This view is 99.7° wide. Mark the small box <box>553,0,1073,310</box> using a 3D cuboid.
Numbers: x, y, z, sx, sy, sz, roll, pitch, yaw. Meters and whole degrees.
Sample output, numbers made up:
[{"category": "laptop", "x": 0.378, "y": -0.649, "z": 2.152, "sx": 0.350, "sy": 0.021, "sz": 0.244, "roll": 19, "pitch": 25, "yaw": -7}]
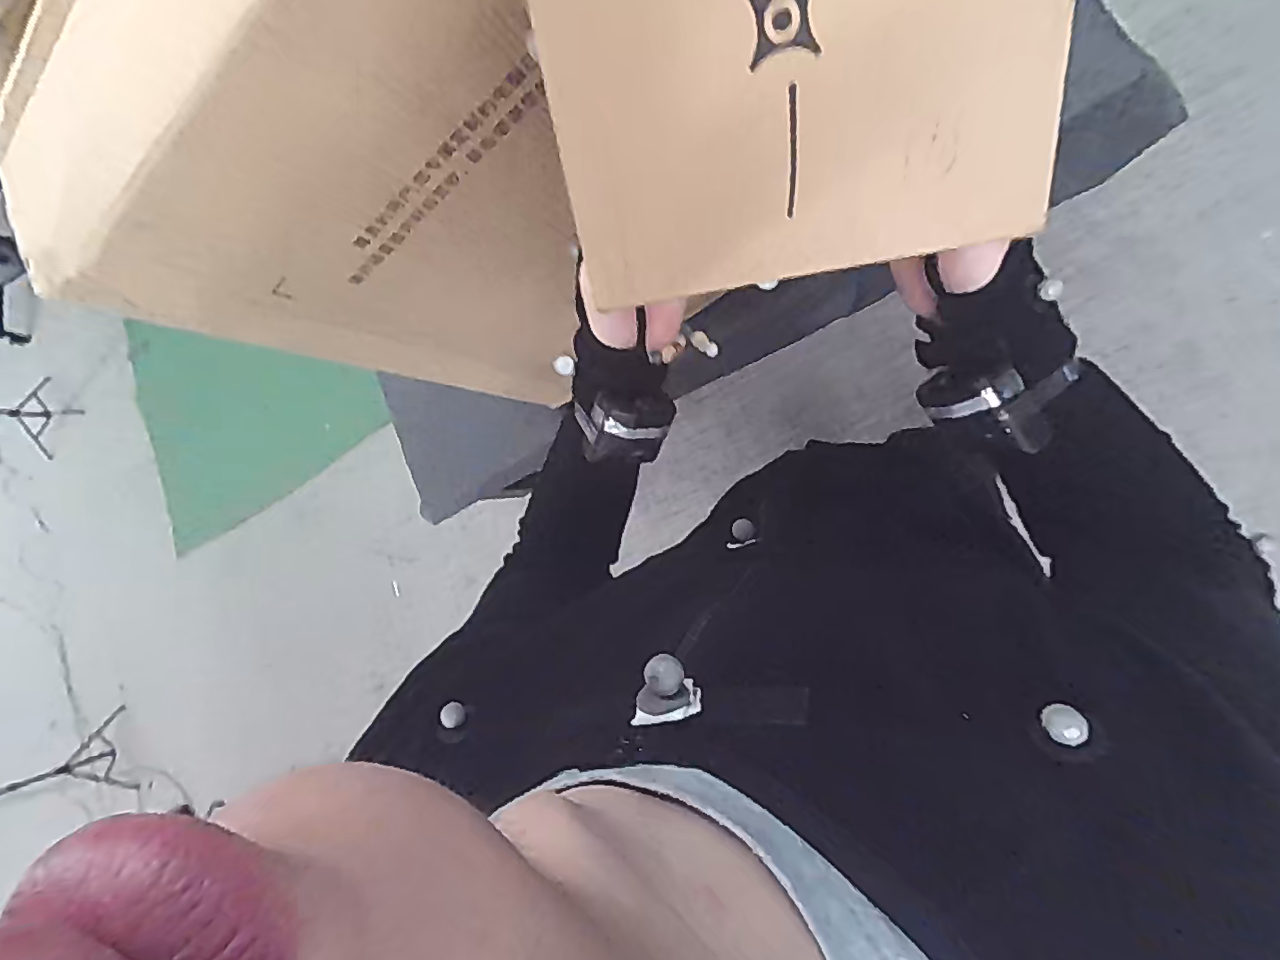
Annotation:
[{"category": "small box", "x": 0.063, "y": -0.190, "z": 0.248, "sx": 0.168, "sy": 0.176, "sz": 0.179, "roll": -5, "pitch": 116, "yaw": 12}]
